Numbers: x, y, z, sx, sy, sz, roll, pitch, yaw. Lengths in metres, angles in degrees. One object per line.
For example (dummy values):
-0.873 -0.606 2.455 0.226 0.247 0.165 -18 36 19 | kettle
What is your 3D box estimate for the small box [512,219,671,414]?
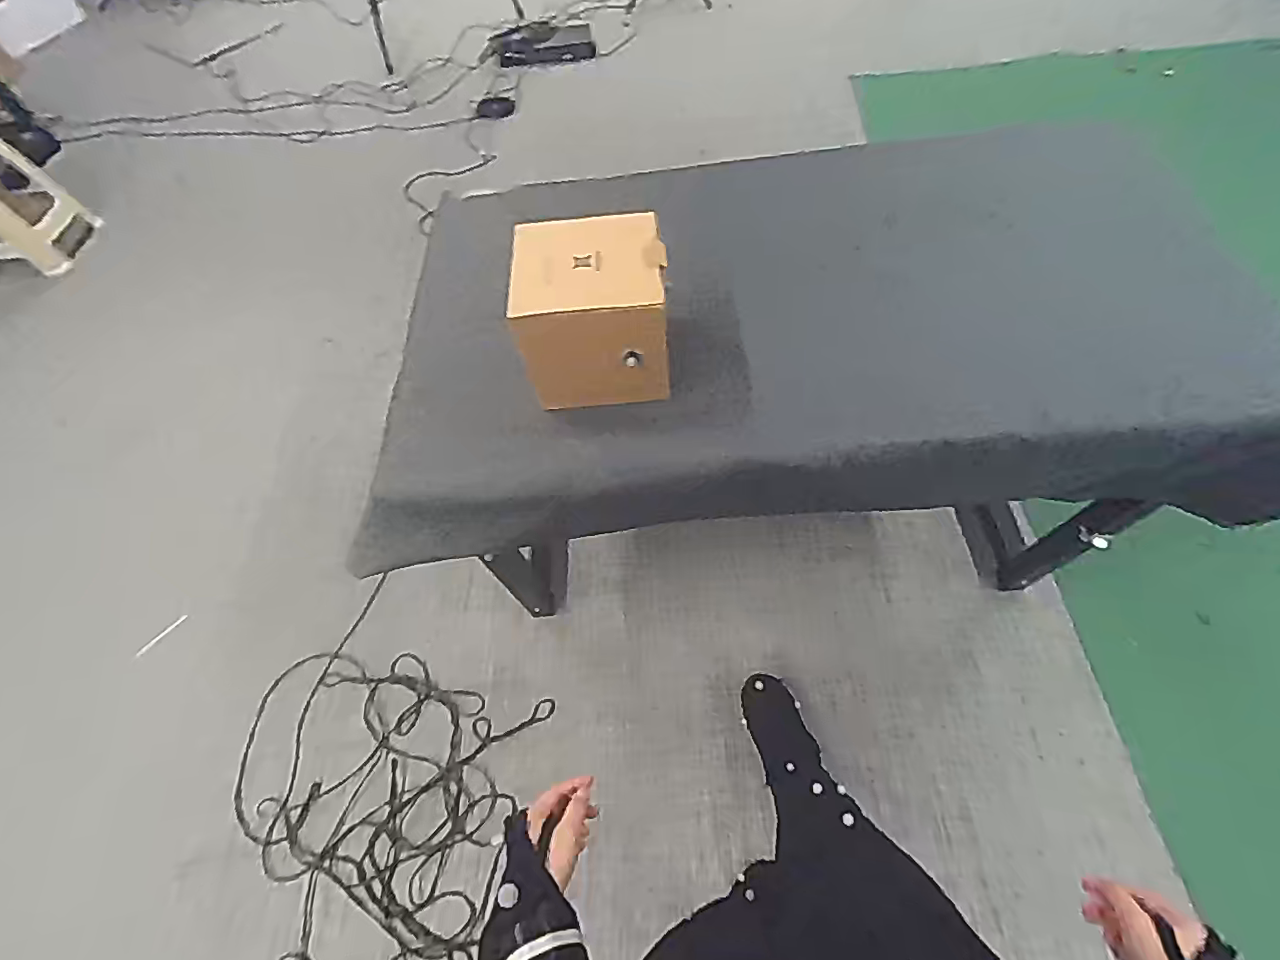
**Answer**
-0.052 -0.203 0.695 0.179 0.176 0.168 -5 58 3 | small box
